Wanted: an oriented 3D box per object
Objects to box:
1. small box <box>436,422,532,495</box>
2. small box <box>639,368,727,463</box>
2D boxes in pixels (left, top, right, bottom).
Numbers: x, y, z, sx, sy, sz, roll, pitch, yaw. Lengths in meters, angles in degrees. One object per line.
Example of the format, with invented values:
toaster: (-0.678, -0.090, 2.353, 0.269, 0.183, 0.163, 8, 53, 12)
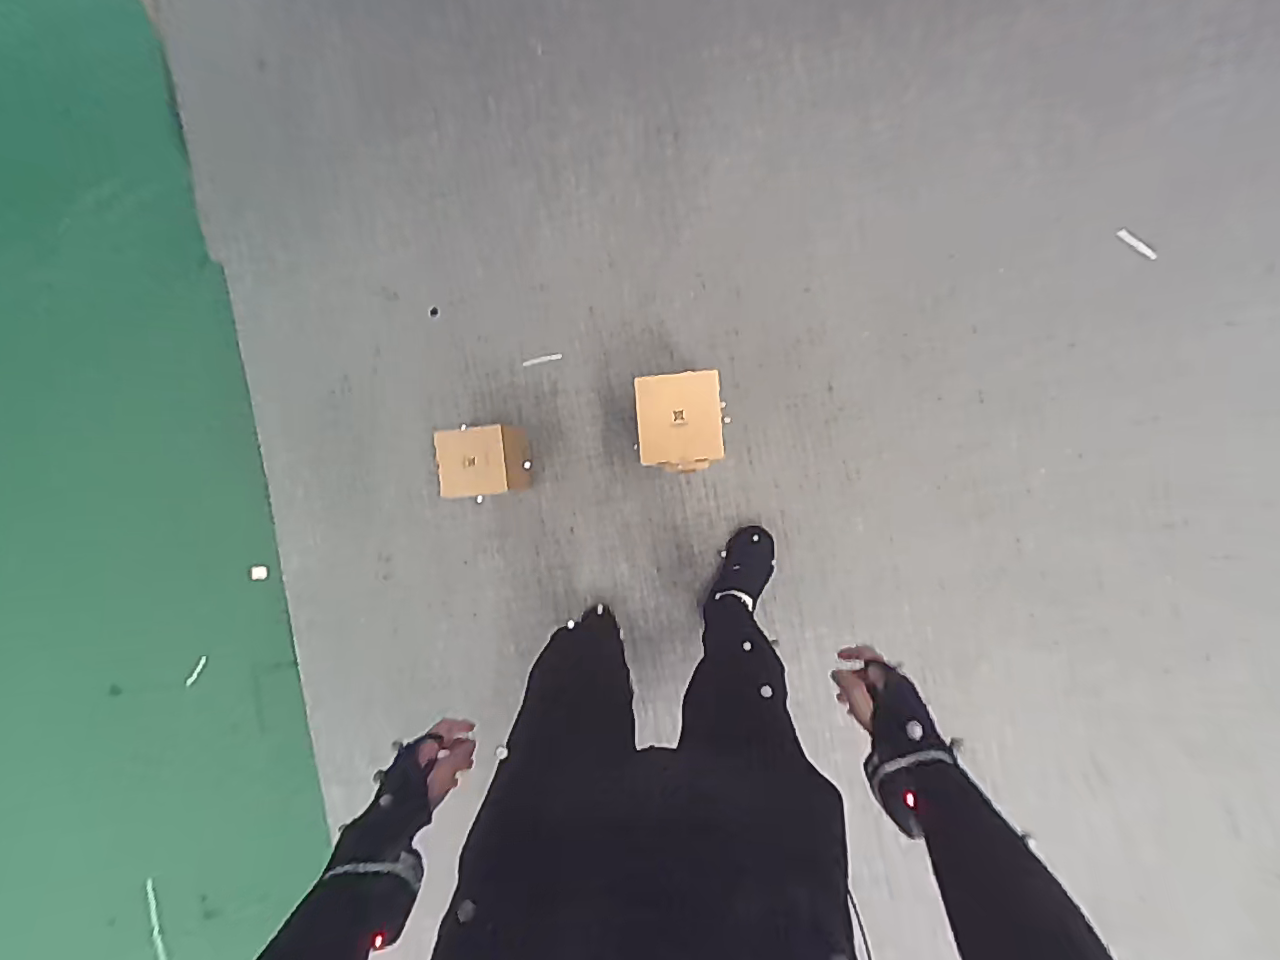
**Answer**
small box: (-0.390, -0.053, 1.372, 0.179, 0.176, 0.168, -5, 92, 8)
small box: (0.092, -0.127, 1.131, 0.168, 0.176, 0.179, -4, 92, 8)
